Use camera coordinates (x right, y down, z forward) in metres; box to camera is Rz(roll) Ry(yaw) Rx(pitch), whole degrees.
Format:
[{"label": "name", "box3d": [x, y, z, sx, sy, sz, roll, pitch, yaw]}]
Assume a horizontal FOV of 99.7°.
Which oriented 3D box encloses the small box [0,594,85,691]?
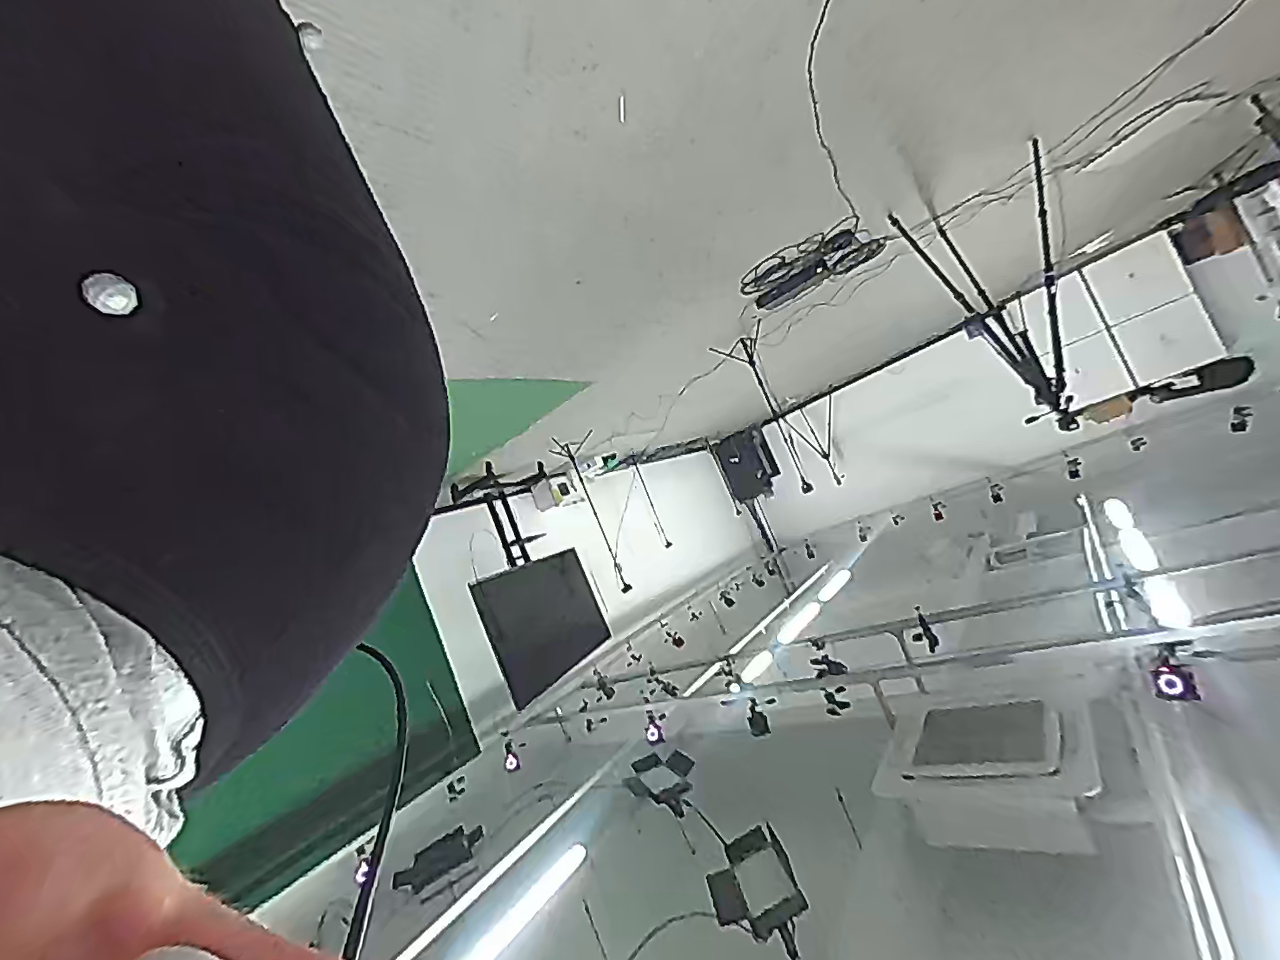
[{"label": "small box", "box3d": [-1.454, 0.383, 1.275, 0.179, 0.176, 0.168, -28, 174, 39]}]
